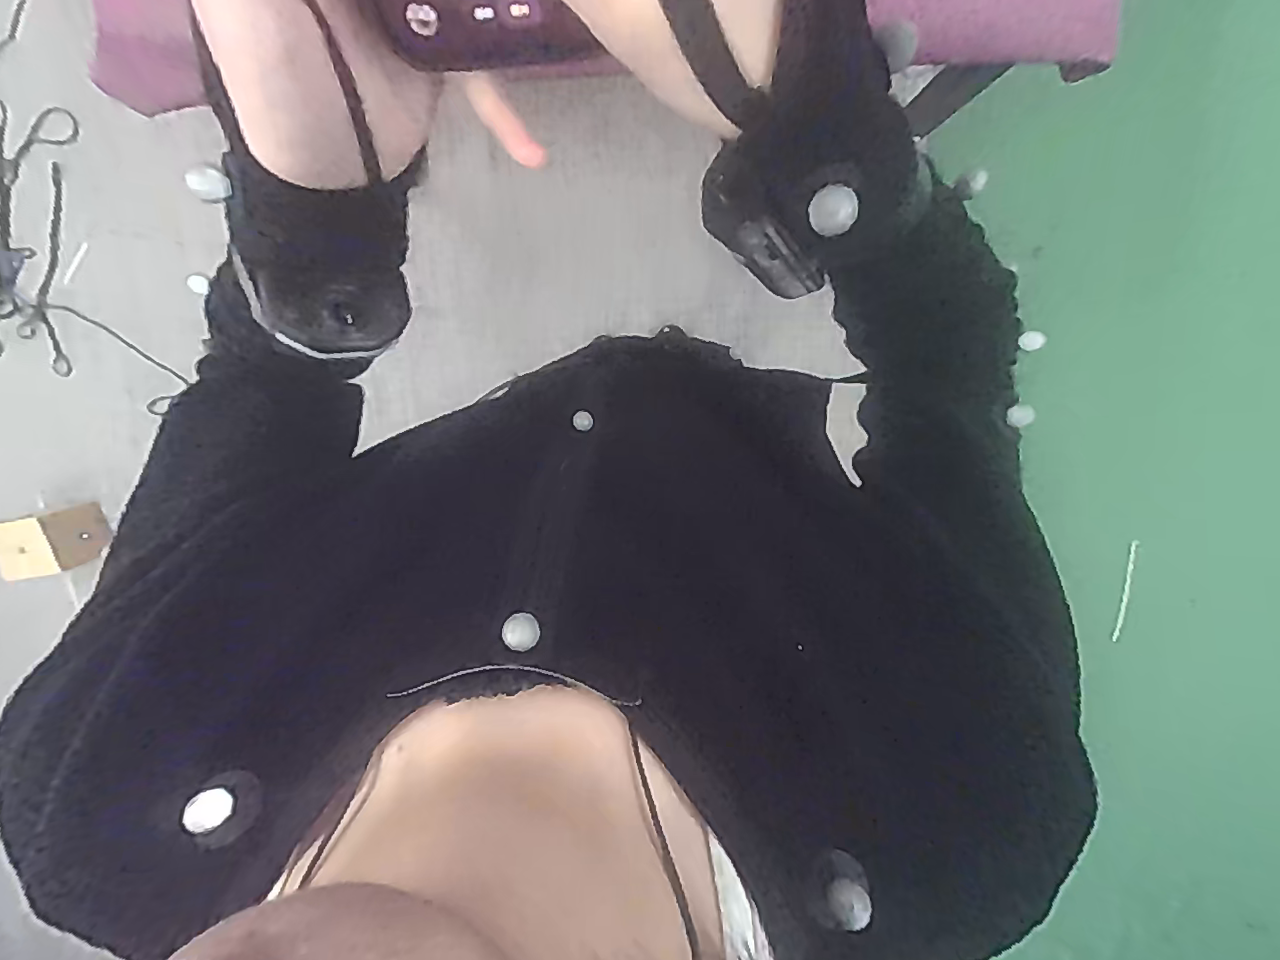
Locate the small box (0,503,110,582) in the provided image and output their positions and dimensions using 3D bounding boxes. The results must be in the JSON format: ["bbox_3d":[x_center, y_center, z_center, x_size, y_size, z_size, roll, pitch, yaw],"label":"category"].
[{"bbox_3d":[-1.685,0.173,1.546,0.179,0.176,0.168,-8,104,5],"label":"small box"}]
